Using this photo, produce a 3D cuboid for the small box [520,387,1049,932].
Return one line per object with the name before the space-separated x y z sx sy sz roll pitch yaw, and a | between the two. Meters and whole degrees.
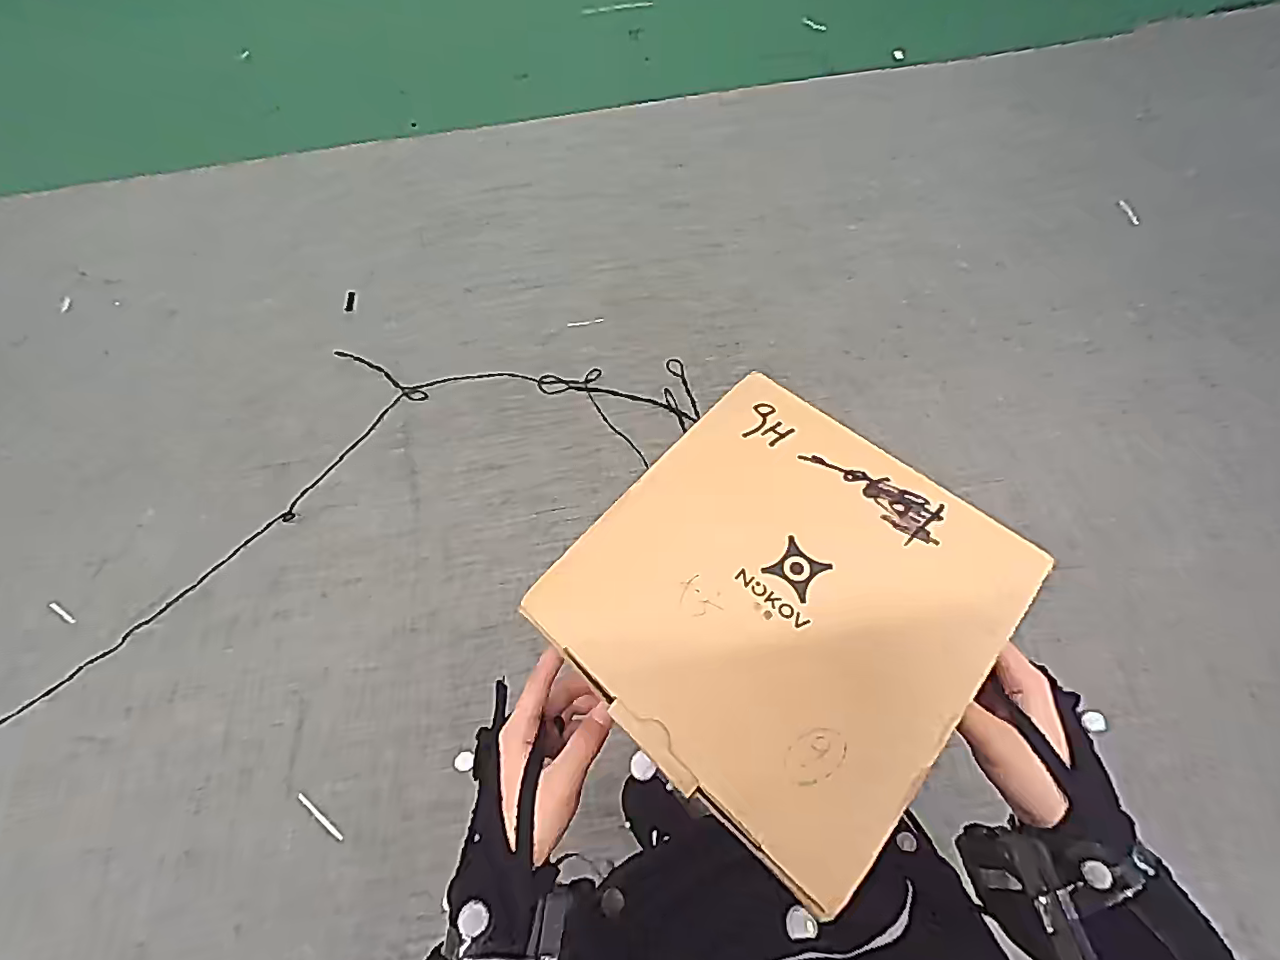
small box | 0.067 0.090 0.307 0.168 0.176 0.179 39 71 22
